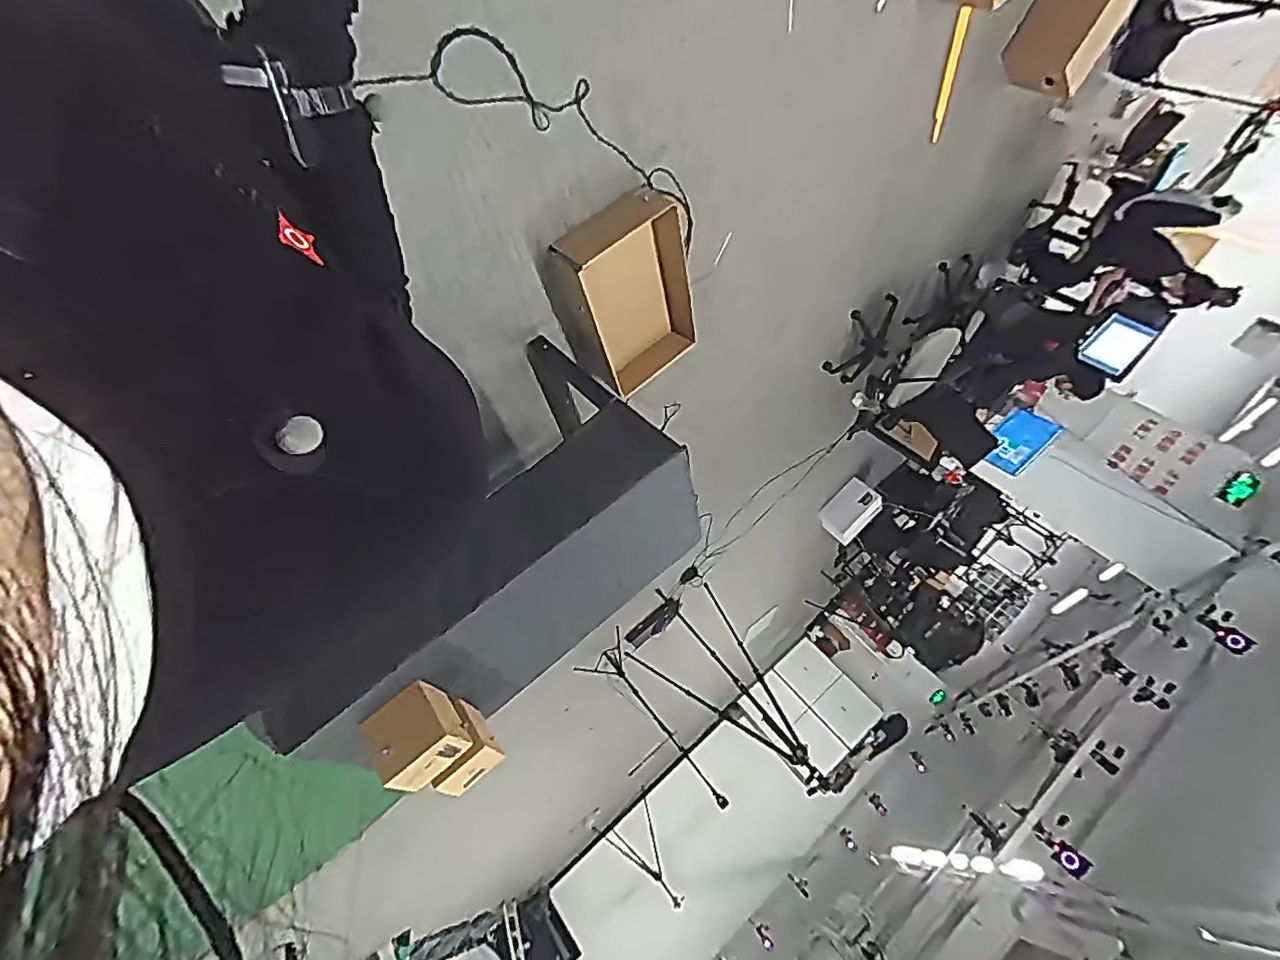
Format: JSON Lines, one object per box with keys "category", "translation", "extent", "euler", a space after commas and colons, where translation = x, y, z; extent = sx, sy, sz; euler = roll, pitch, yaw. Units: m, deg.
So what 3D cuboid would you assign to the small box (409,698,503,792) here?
{"category": "small box", "translation": [-0.529, 0.762, 1.560], "extent": [0.168, 0.176, 0.179], "euler": [-36, 148, -18]}
